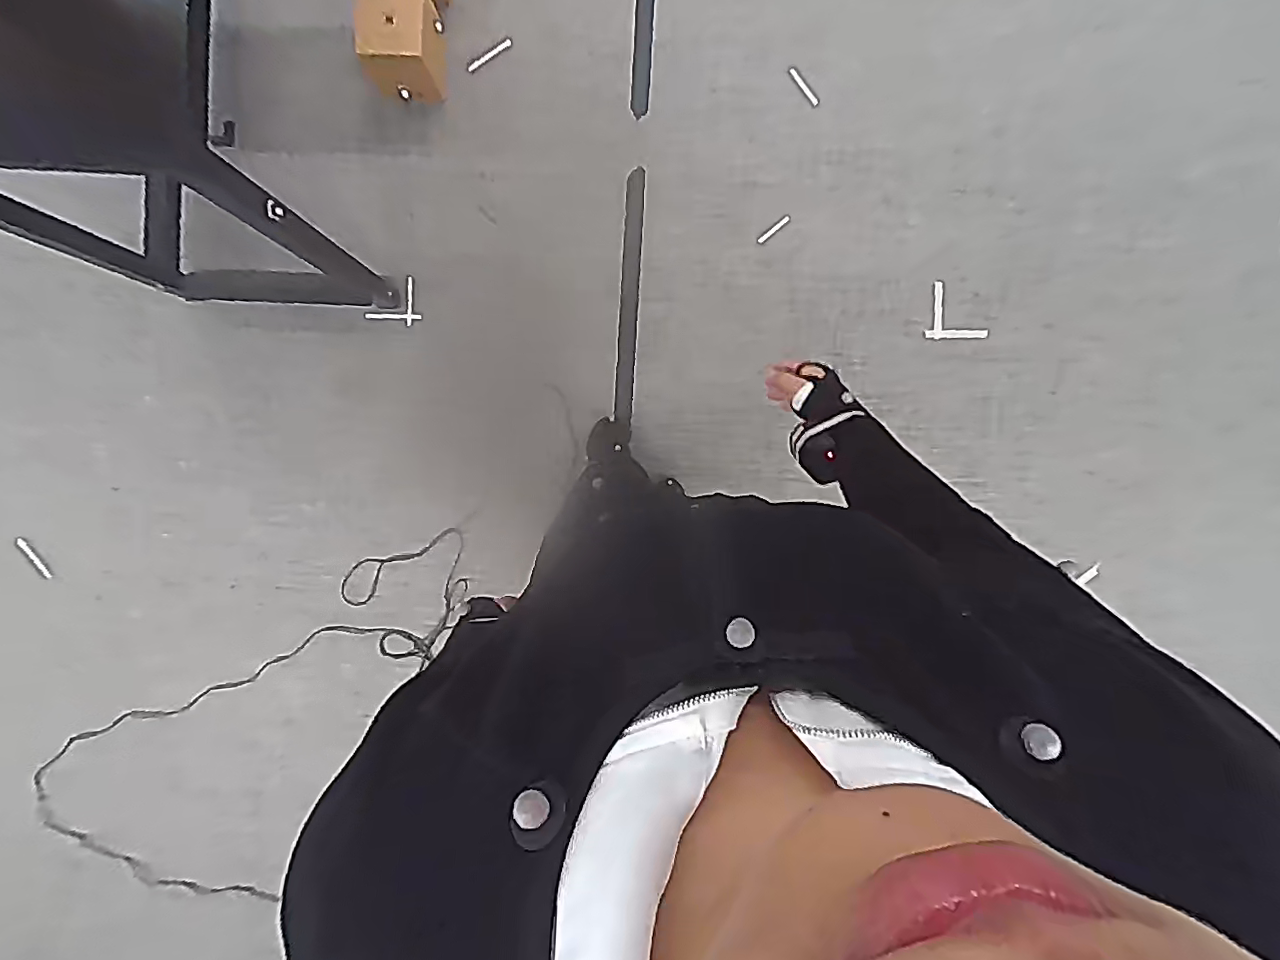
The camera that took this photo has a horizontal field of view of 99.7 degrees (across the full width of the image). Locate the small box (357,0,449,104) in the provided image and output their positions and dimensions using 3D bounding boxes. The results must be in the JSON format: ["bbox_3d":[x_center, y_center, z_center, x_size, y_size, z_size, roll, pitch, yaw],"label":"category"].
[{"bbox_3d":[-0.603,-1.114,1.391,0.168,0.176,0.179,2,92,0],"label":"small box"}]
